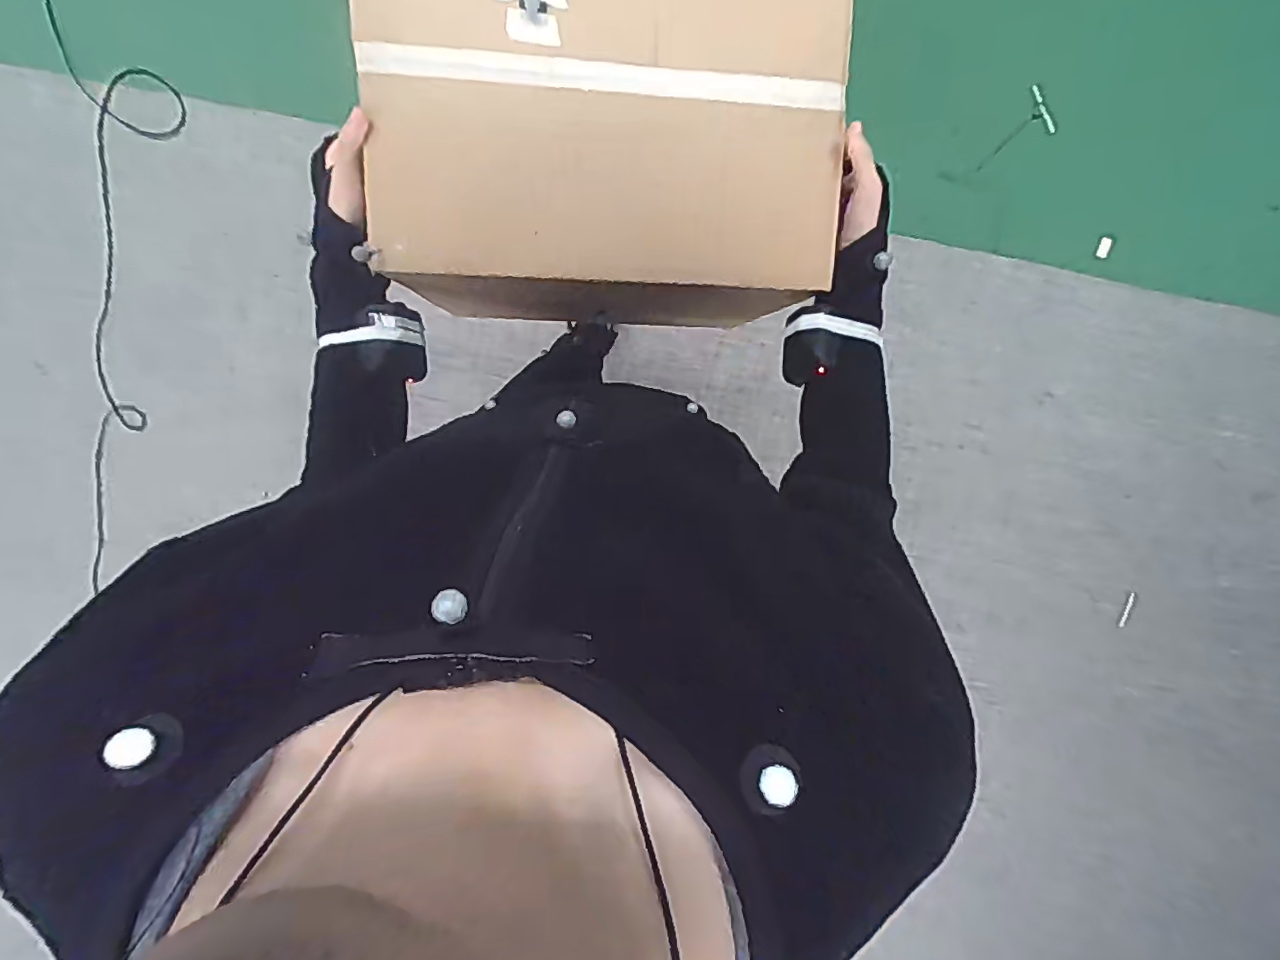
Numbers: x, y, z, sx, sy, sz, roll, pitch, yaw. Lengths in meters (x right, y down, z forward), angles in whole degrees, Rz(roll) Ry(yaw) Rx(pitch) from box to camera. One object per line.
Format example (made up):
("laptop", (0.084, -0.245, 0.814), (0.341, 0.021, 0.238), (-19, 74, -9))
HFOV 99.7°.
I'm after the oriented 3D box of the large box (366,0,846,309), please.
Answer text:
("large box", (-0.036, -0.367, 0.601), (0.408, 0.320, 0.320), (0, 100, -6))
